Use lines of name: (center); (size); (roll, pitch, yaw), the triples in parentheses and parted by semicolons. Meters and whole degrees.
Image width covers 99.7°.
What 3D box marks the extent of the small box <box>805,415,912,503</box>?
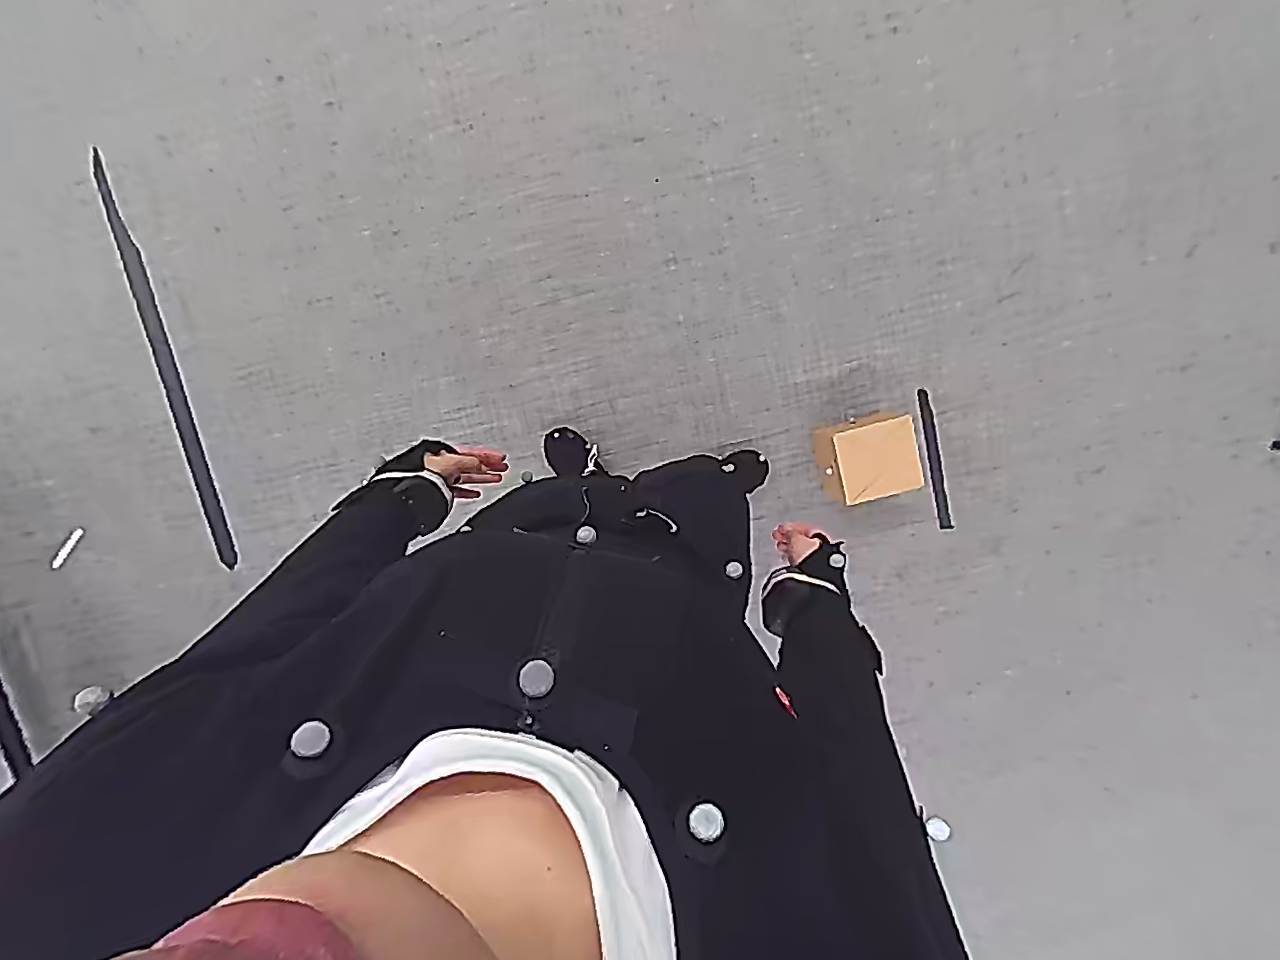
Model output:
small box: (0.516, -0.051, 1.285); (0.179, 0.176, 0.168); (-14, 97, 2)
